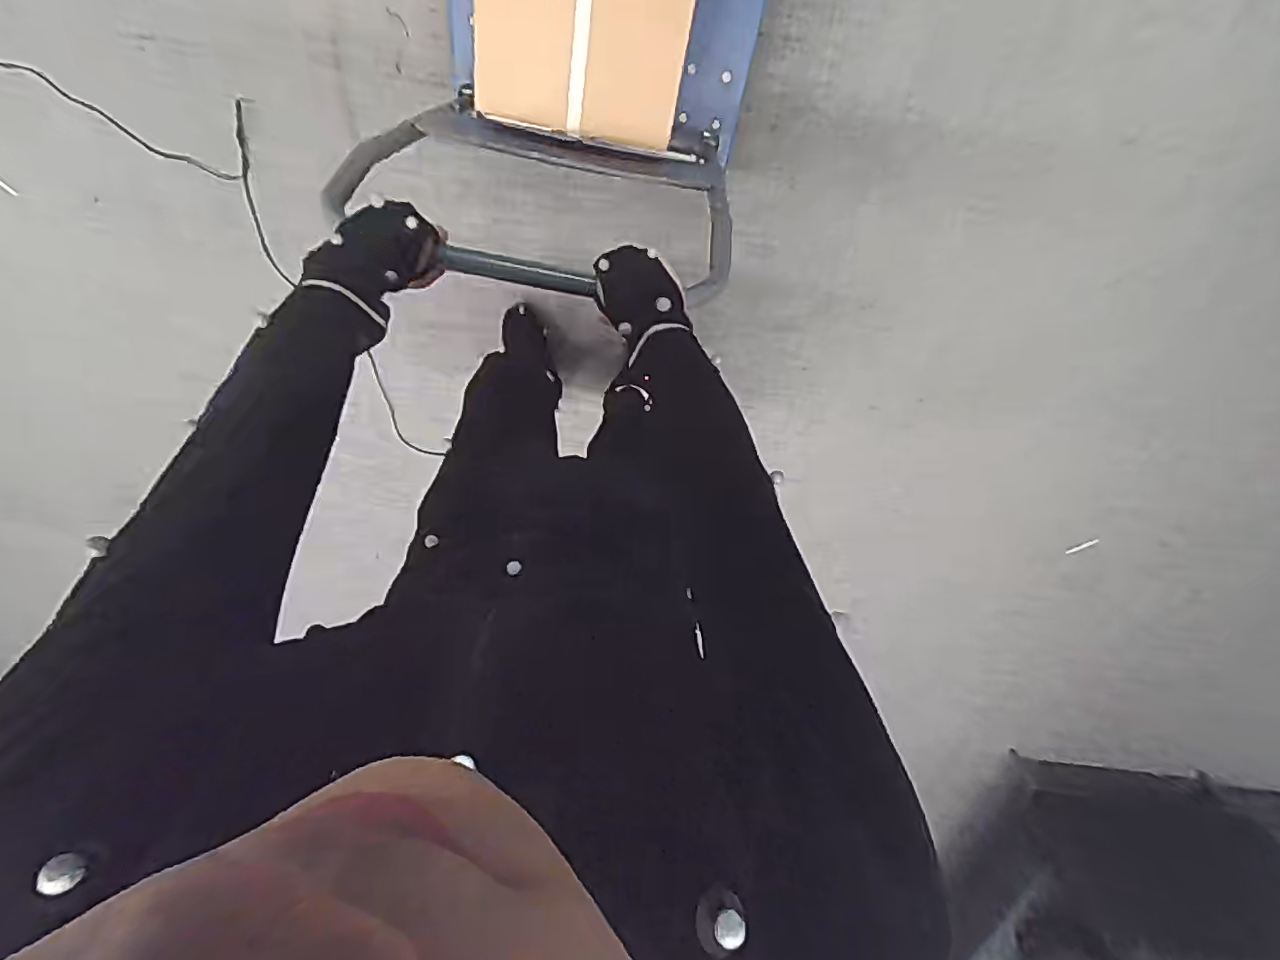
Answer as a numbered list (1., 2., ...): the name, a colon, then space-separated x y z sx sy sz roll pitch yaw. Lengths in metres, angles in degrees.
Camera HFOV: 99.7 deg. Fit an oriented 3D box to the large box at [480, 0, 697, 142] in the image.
1. large box: -0.059 -0.819 0.873 0.320 0.320 0.408 10 127 -5
